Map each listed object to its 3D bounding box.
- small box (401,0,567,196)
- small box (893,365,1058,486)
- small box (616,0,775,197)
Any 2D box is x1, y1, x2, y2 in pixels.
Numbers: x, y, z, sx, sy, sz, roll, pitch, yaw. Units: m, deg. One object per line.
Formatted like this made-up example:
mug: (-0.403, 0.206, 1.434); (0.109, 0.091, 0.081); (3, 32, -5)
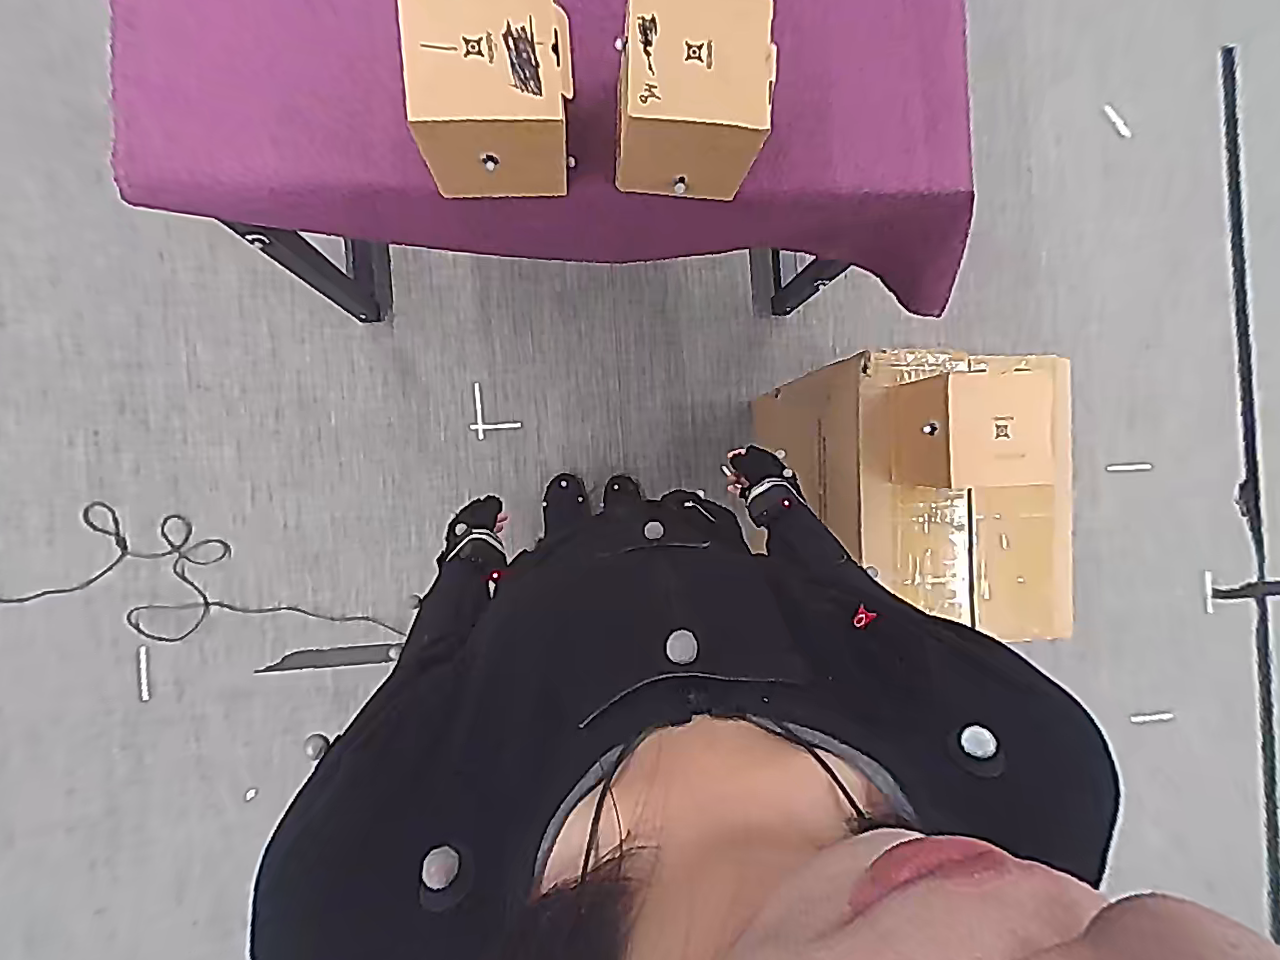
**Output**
small box: (-0.185, -0.485, 0.688); (0.179, 0.176, 0.168); (-4, 90, -5)
small box: (0.530, -0.081, 0.875); (0.168, 0.176, 0.179); (-3, 92, -4)
small box: (0.064, -0.502, 0.718); (0.179, 0.176, 0.168); (1, 89, -7)
